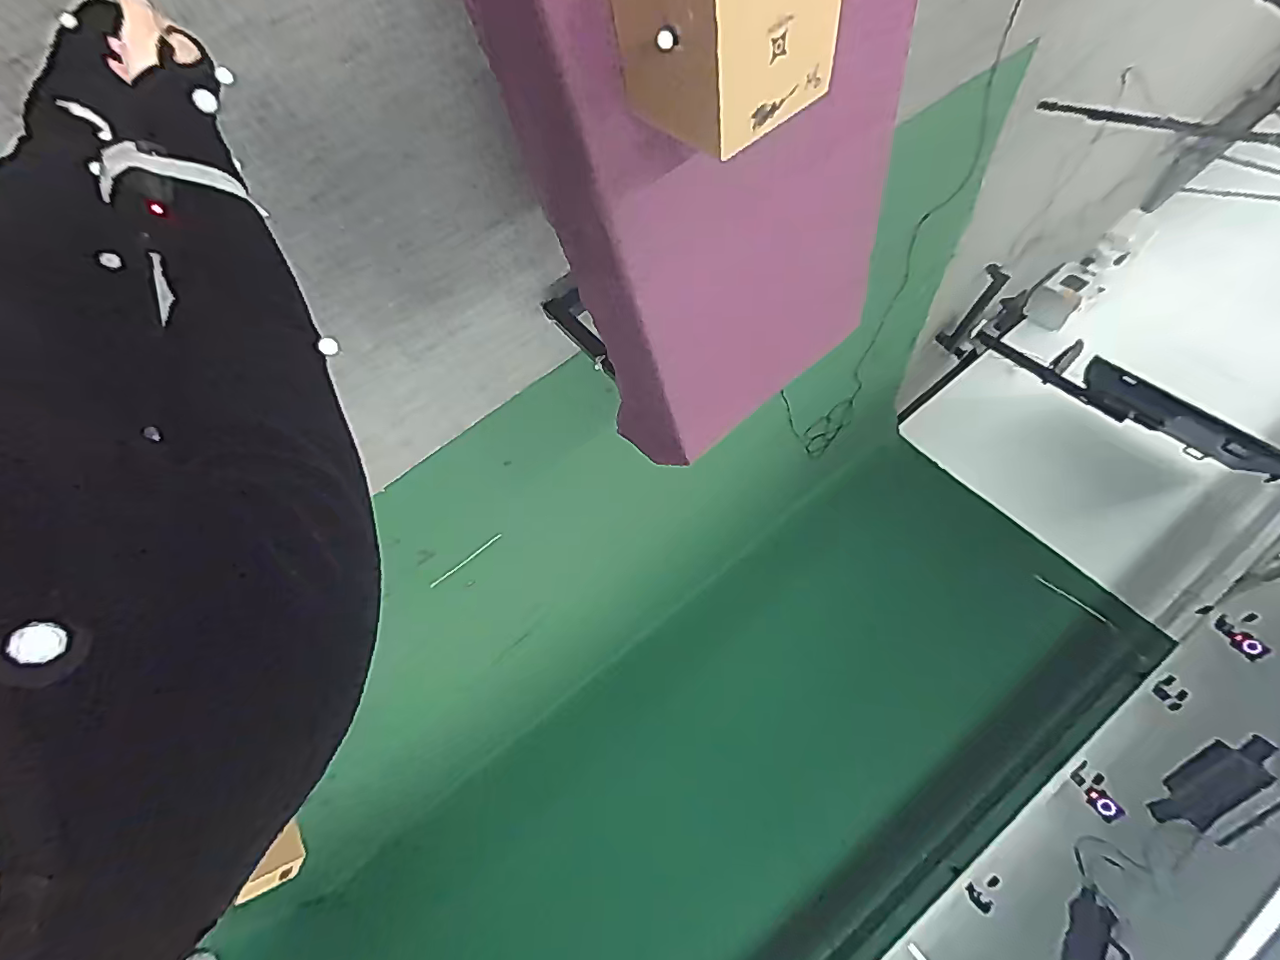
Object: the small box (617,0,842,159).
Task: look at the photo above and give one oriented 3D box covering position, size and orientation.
[{"bbox_3d":[0.089,-0.486,0.564,0.168,0.176,0.179,-37,151,-9],"label":"small box"}]
